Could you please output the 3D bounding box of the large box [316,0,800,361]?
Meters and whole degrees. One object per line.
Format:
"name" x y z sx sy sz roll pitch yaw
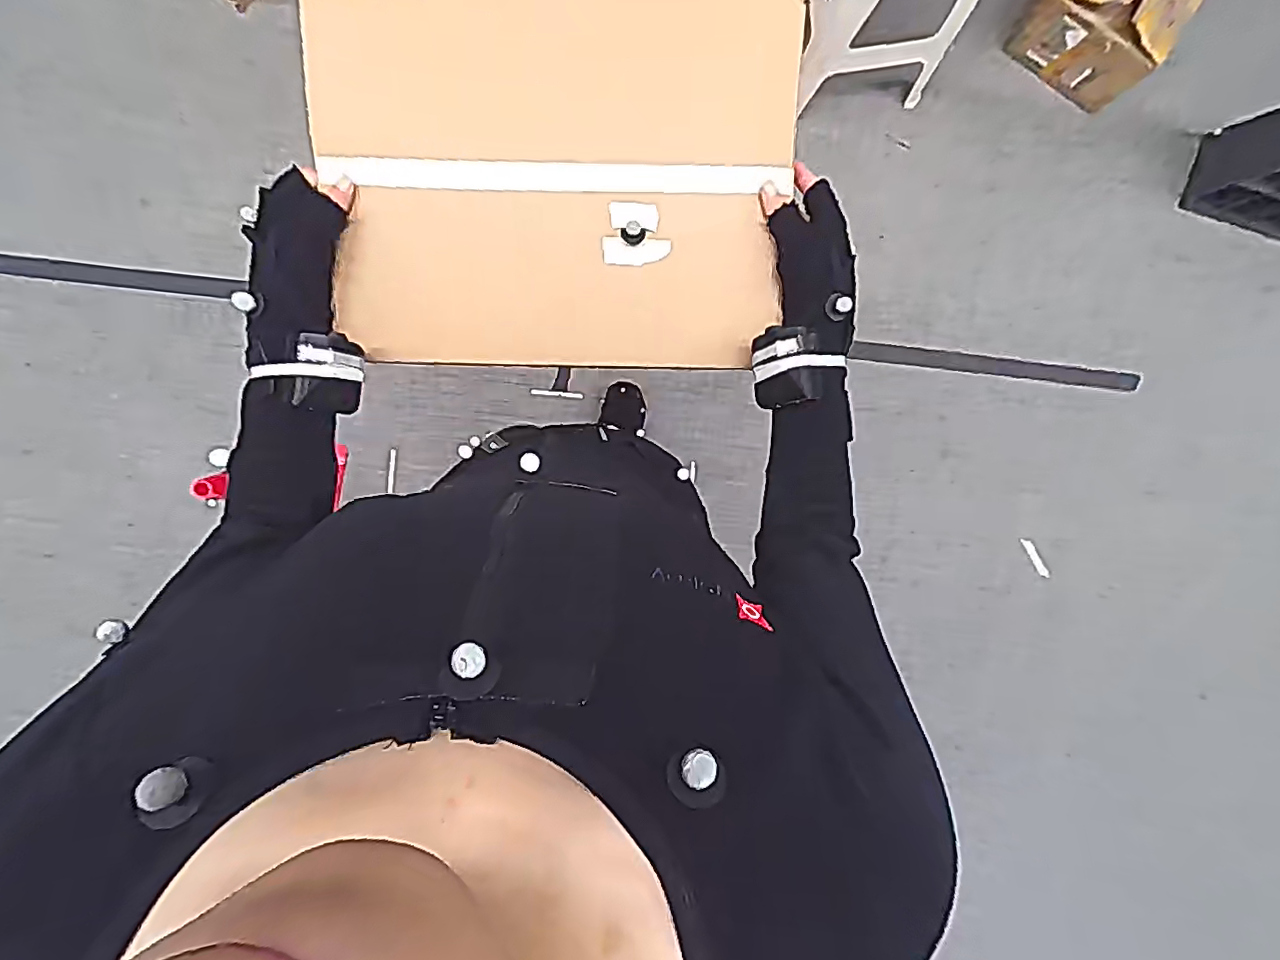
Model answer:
"large box" -0.072 -0.297 0.614 0.408 0.320 0.320 0 103 -2

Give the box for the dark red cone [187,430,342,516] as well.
"dark red cone" -0.868 -0.005 1.230 0.201 0.394 0.202 12 95 -5

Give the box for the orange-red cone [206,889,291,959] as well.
"orange-red cone" -1.082 1.272 1.358 0.198 0.360 0.199 4 96 -2
